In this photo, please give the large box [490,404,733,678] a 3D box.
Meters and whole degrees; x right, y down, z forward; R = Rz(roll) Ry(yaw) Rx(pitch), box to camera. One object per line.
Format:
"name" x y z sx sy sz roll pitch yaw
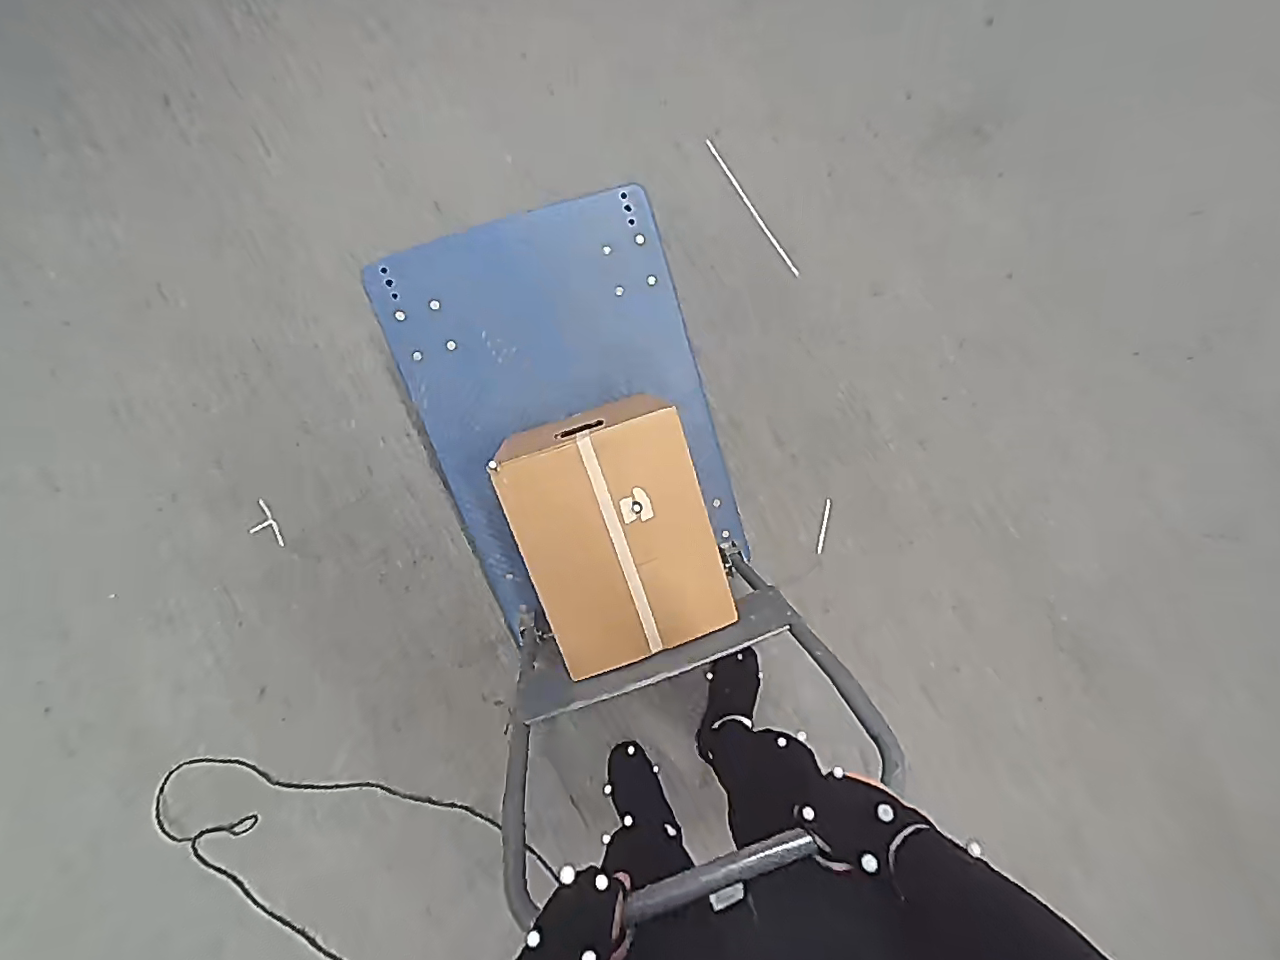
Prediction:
"large box" -0.053 0.095 1.066 0.320 0.320 0.408 -20 104 -3
